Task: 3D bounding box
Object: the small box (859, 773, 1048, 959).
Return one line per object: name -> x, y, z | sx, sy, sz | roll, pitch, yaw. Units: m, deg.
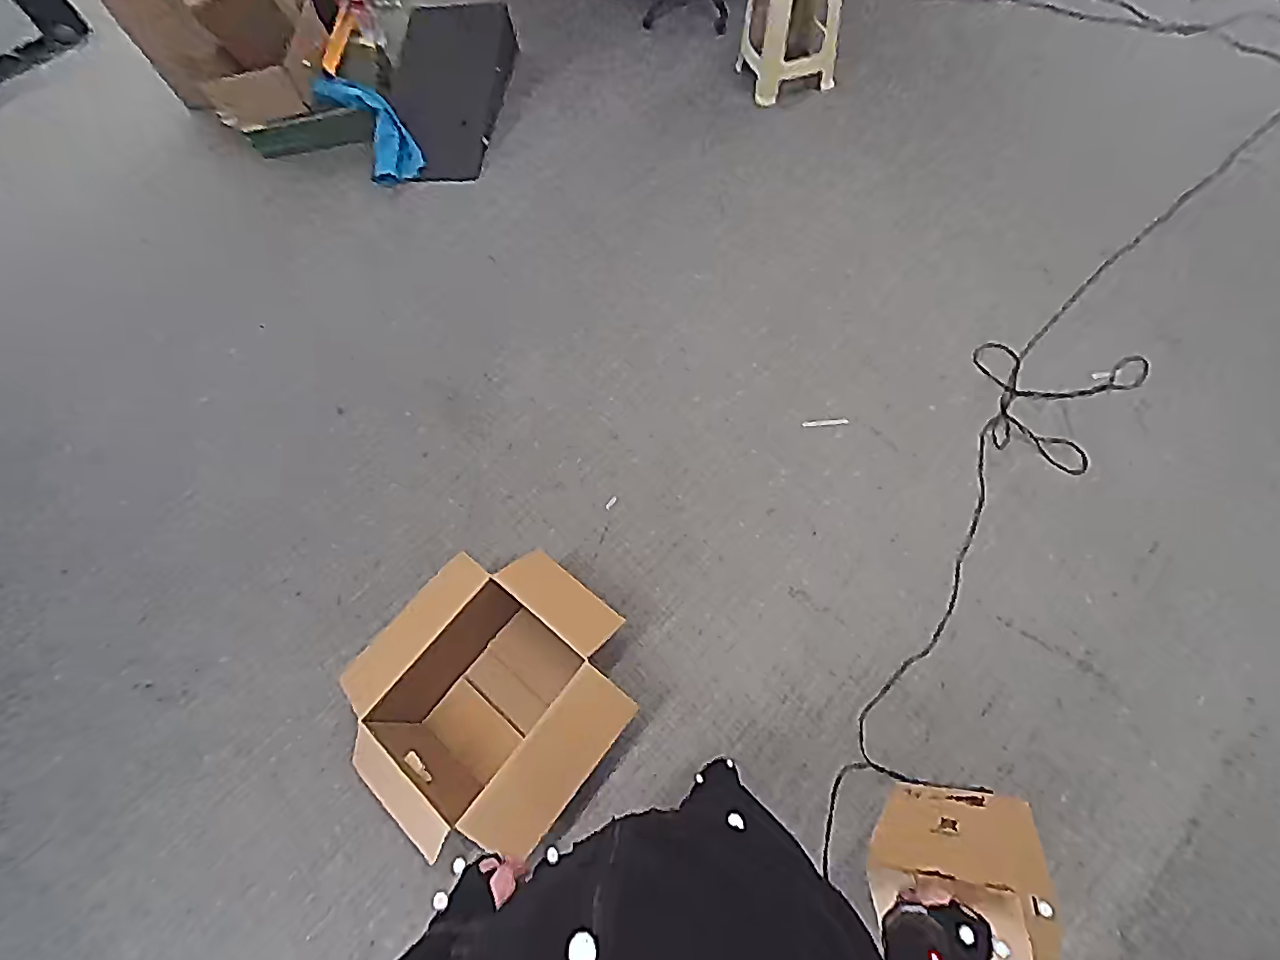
small box -> 0.406, 0.518, 0.694 | 0.168, 0.179, 0.176 | -12, 90, 39
